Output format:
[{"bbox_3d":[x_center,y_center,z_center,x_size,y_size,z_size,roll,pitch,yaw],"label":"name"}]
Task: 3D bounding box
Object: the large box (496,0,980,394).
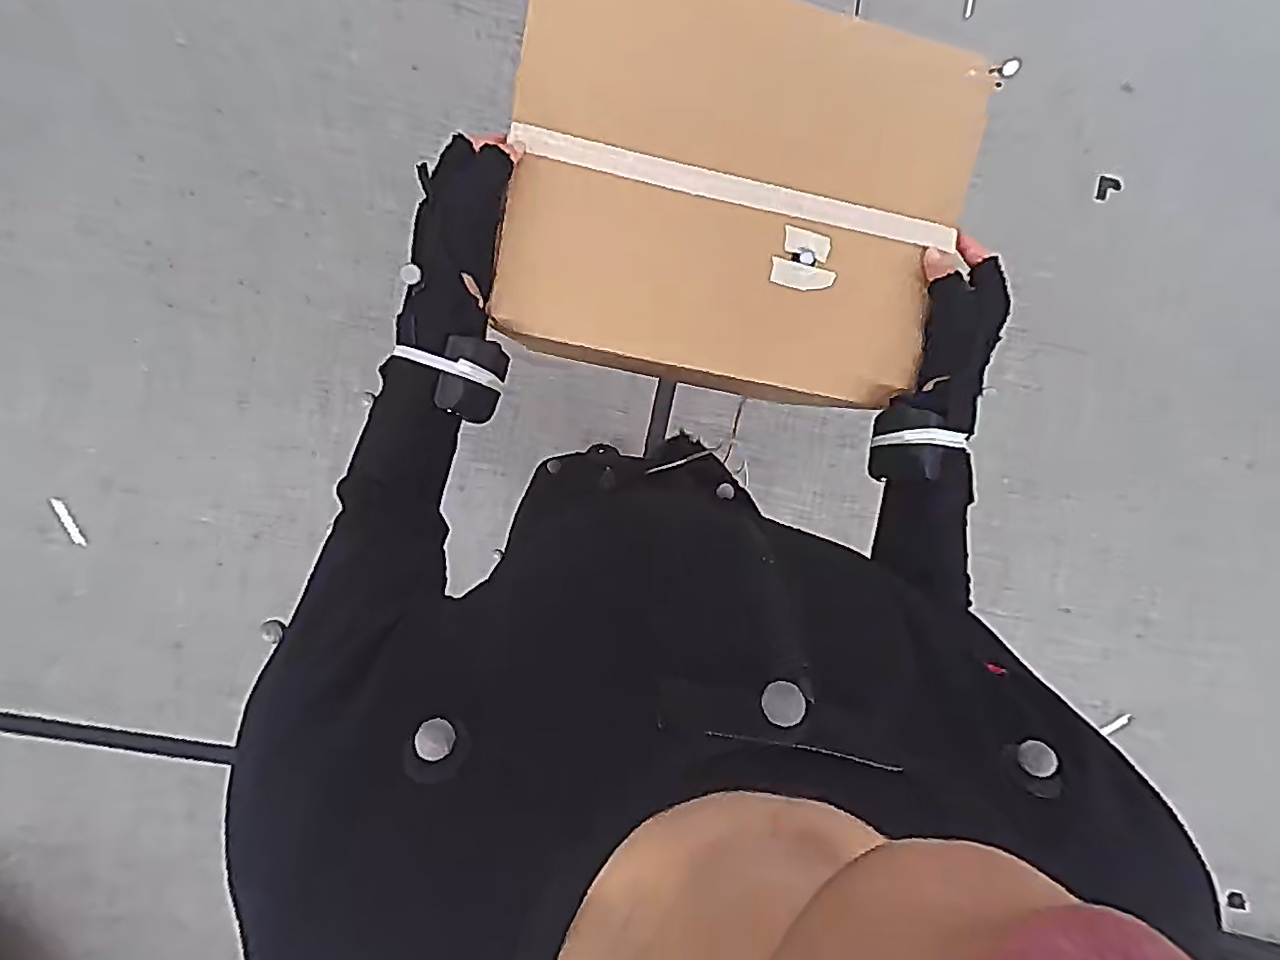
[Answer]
[{"bbox_3d":[0.074,-0.290,0.634,0.408,0.320,0.320,10,100,-7],"label":"large box"}]
